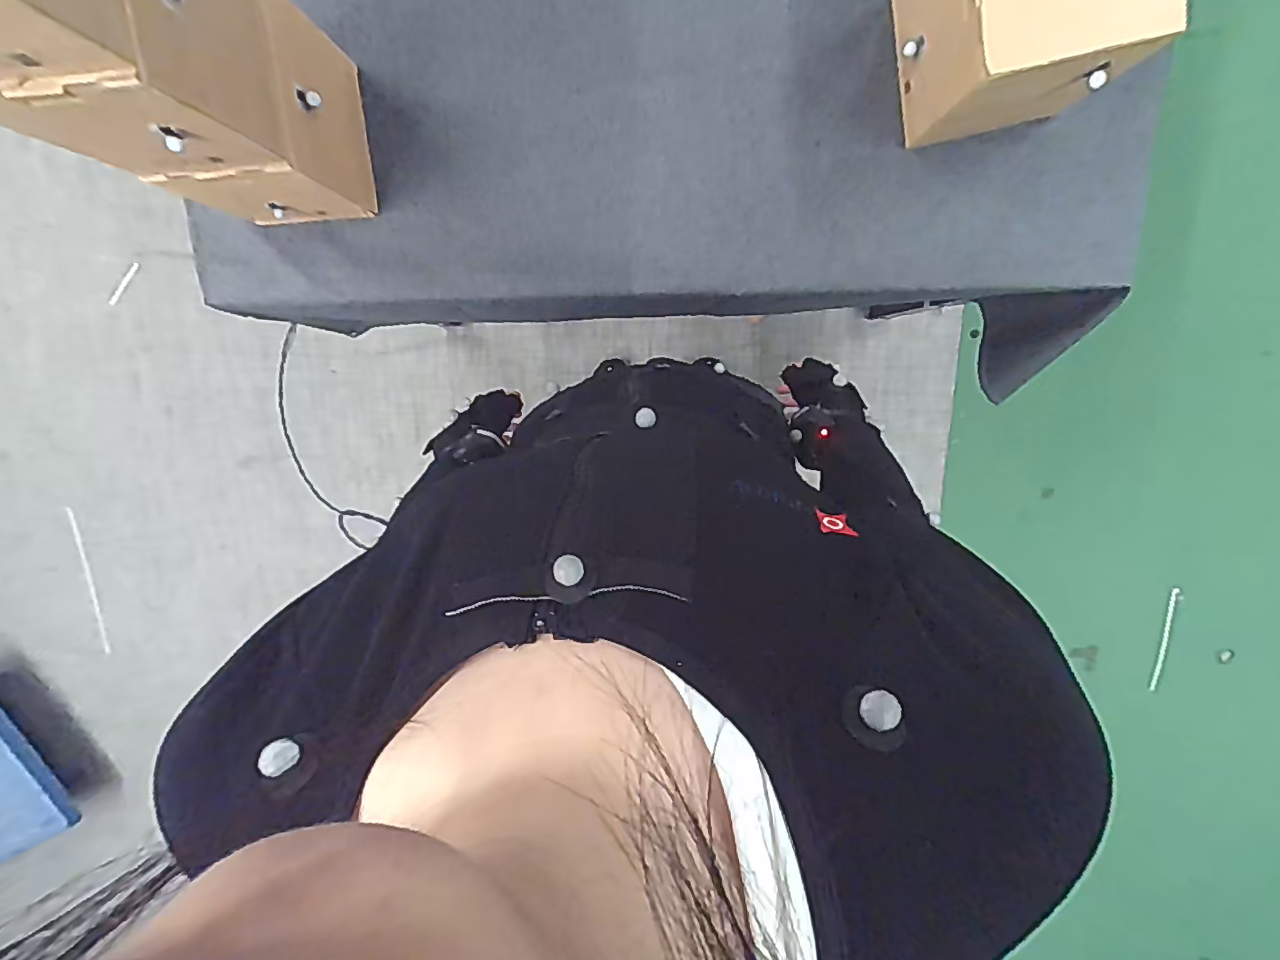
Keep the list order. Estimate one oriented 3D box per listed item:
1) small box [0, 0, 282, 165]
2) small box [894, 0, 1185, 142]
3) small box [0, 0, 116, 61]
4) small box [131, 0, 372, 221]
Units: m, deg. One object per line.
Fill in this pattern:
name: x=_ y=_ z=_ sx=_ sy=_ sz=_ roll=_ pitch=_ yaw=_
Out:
small box: x=-0.431 y=-0.376 z=0.441 sx=0.168 sy=0.176 sz=0.179 roll=-2 pitch=102 yaw=2
small box: x=0.384 y=-0.475 z=0.545 sx=0.179 sy=0.176 sz=0.168 roll=-10 pitch=101 yaw=5
small box: x=-0.437 y=-0.348 z=0.279 sx=0.168 sy=0.176 sz=0.179 roll=-4 pitch=102 yaw=2
small box: x=-0.427 y=-0.407 z=0.601 sx=0.168 sy=0.176 sz=0.179 roll=-3 pitch=102 yaw=3
